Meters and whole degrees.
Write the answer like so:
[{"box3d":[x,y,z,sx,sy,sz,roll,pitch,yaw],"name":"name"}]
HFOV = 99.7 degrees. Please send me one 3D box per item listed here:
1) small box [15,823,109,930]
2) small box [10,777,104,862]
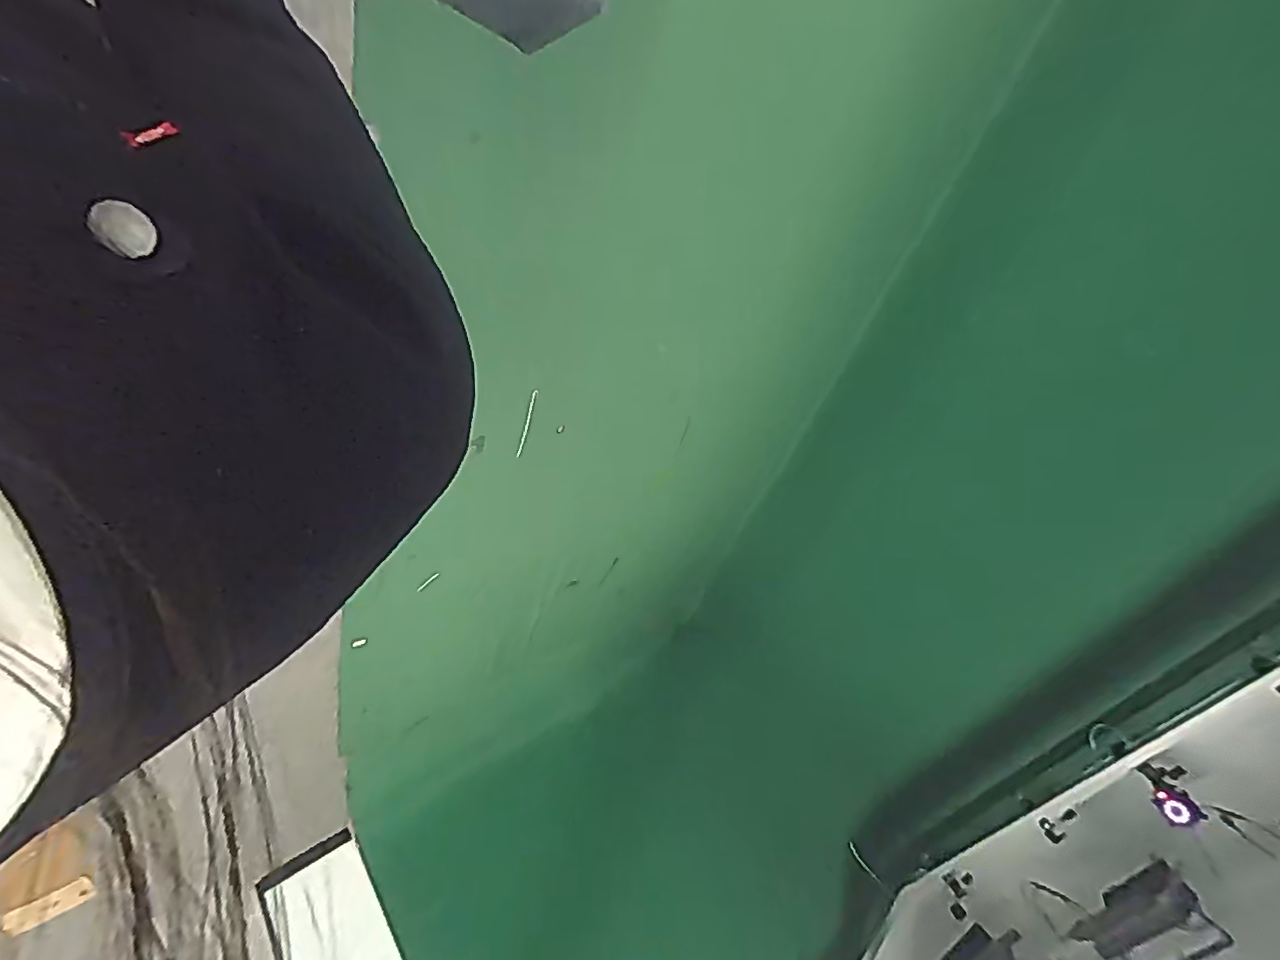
[{"box3d":[-1.755,1.197,1.642,0.179,0.176,0.168,-13,138,-45],"name":"small box"},{"box3d":[-1.858,1.099,1.724,0.179,0.176,0.168,-17,141,-44],"name":"small box"}]
